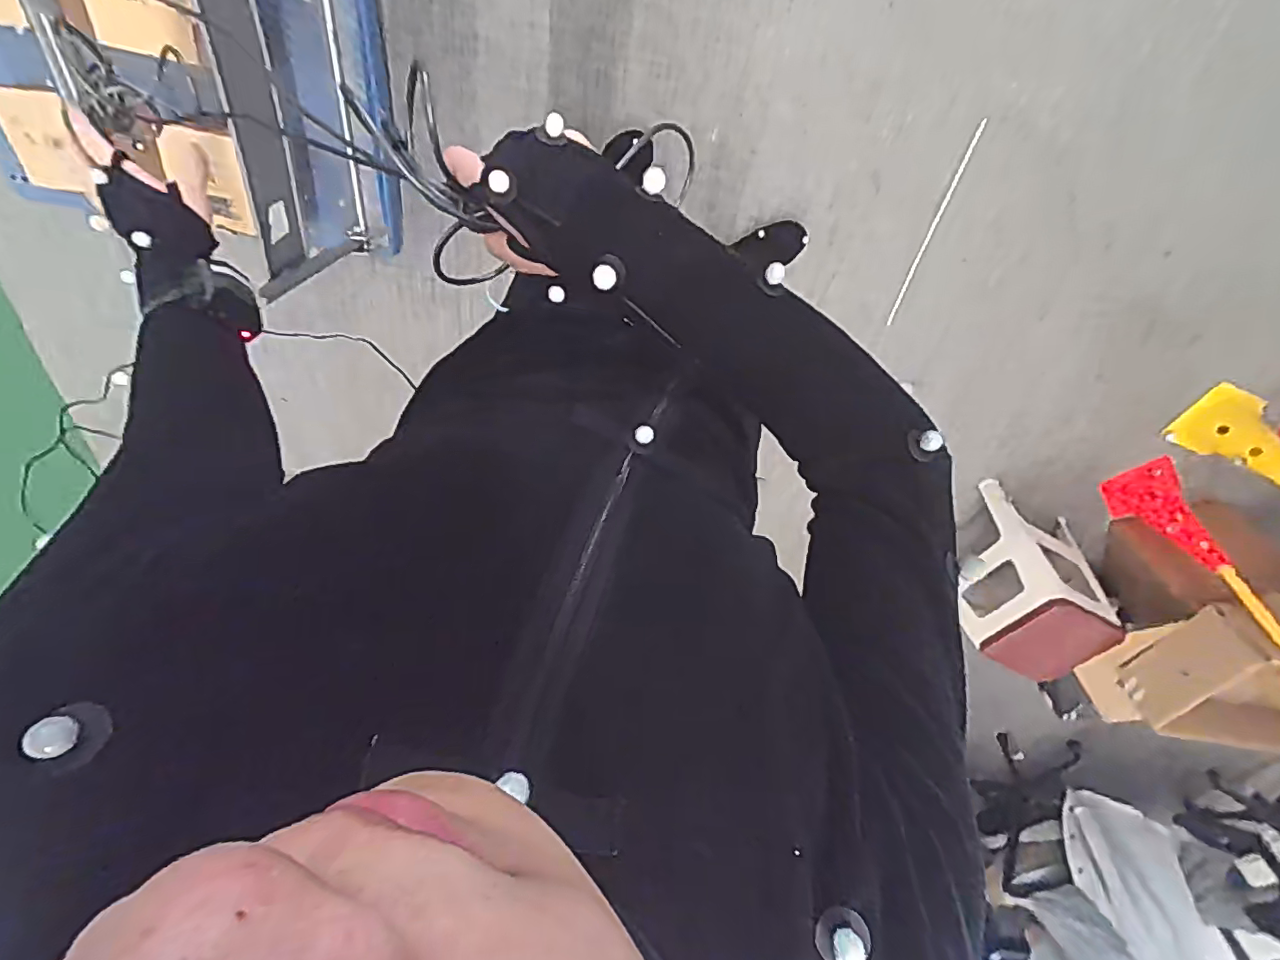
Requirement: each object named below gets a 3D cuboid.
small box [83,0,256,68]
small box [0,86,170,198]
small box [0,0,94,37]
[{"bbox_3d":[-0.829,-0.843,0.951,0.179,0.176,0.168,10,128,-5],"label":"small box"},{"bbox_3d":[-1.108,-0.685,1.091,0.179,0.176,0.168,6,127,-1],"label":"small box"},{"bbox_3d":[-1.071,-0.883,0.933,0.179,0.176,0.168,6,129,-3],"label":"small box"}]
